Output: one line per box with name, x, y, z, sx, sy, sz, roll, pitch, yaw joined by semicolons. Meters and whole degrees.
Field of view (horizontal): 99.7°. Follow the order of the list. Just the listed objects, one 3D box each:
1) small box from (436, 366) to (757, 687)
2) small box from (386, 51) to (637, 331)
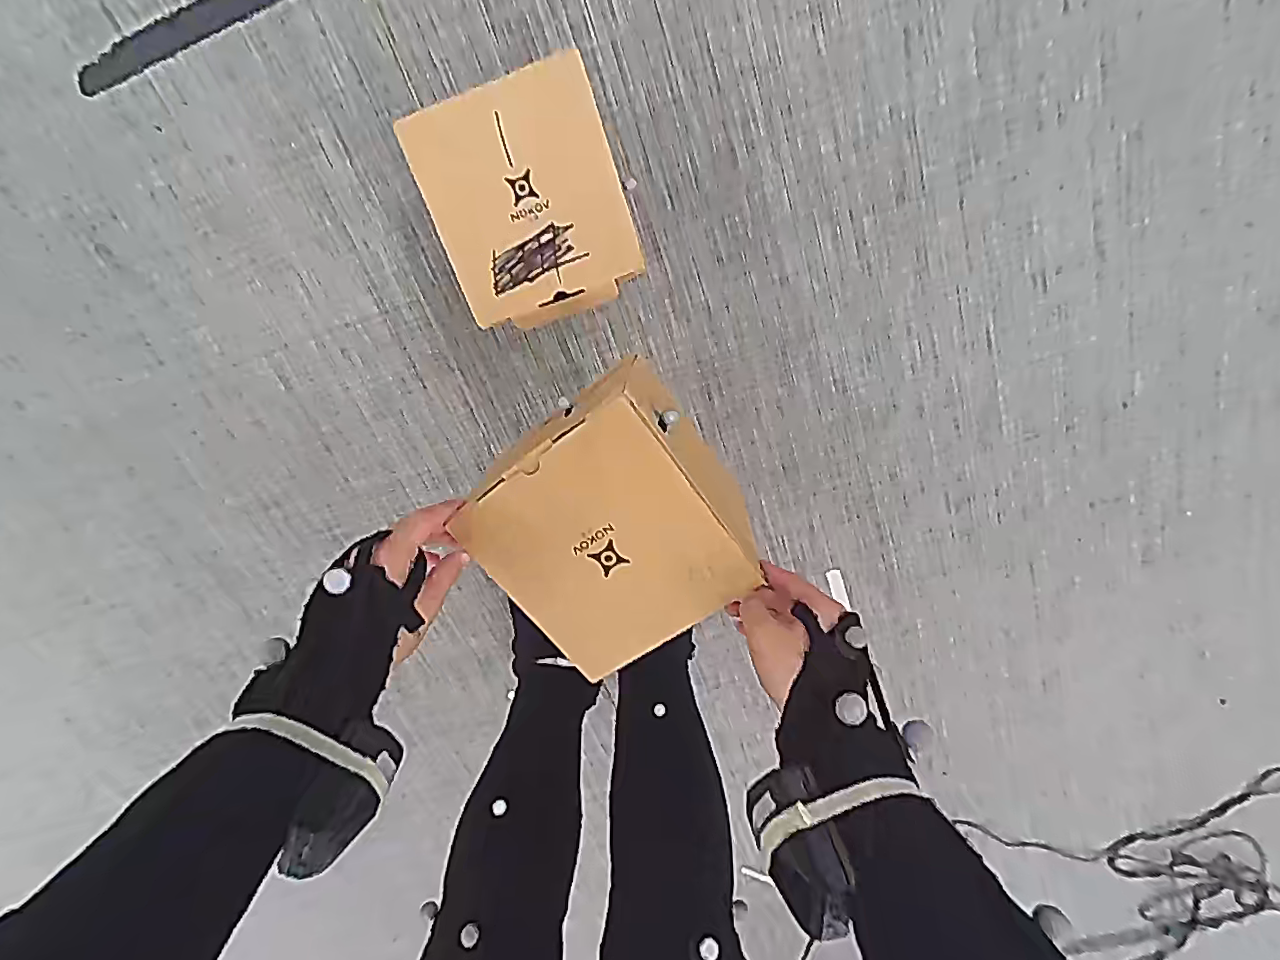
small box;-0.025;0.027;0.456;0.168;0.176;0.179;-35;104;15
small box;-0.103;-0.264;0.533;0.168;0.176;0.179;-18;109;6
